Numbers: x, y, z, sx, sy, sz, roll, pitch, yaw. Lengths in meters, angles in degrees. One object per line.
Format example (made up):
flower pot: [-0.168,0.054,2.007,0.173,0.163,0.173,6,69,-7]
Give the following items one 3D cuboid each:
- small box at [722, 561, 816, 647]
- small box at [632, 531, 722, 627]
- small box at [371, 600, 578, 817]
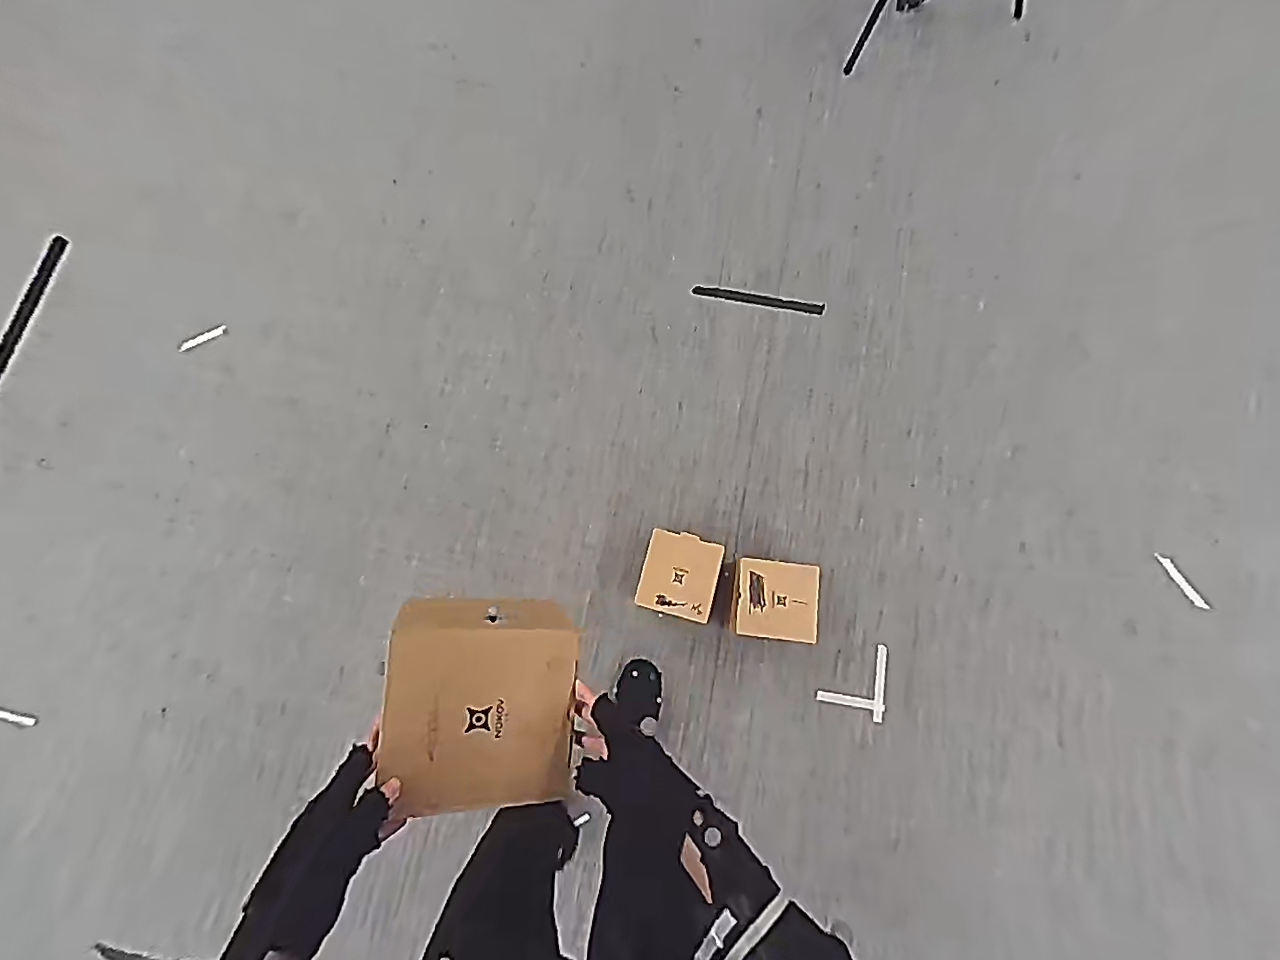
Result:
small box: [0.290,0.285,1.244,0.179,0.176,0.168,7,78,1]
small box: [0.081,0.233,1.258,0.168,0.176,0.179,15,77,4]
small box: [-0.175,0.223,0.579,0.179,0.176,0.168,4,86,-19]
